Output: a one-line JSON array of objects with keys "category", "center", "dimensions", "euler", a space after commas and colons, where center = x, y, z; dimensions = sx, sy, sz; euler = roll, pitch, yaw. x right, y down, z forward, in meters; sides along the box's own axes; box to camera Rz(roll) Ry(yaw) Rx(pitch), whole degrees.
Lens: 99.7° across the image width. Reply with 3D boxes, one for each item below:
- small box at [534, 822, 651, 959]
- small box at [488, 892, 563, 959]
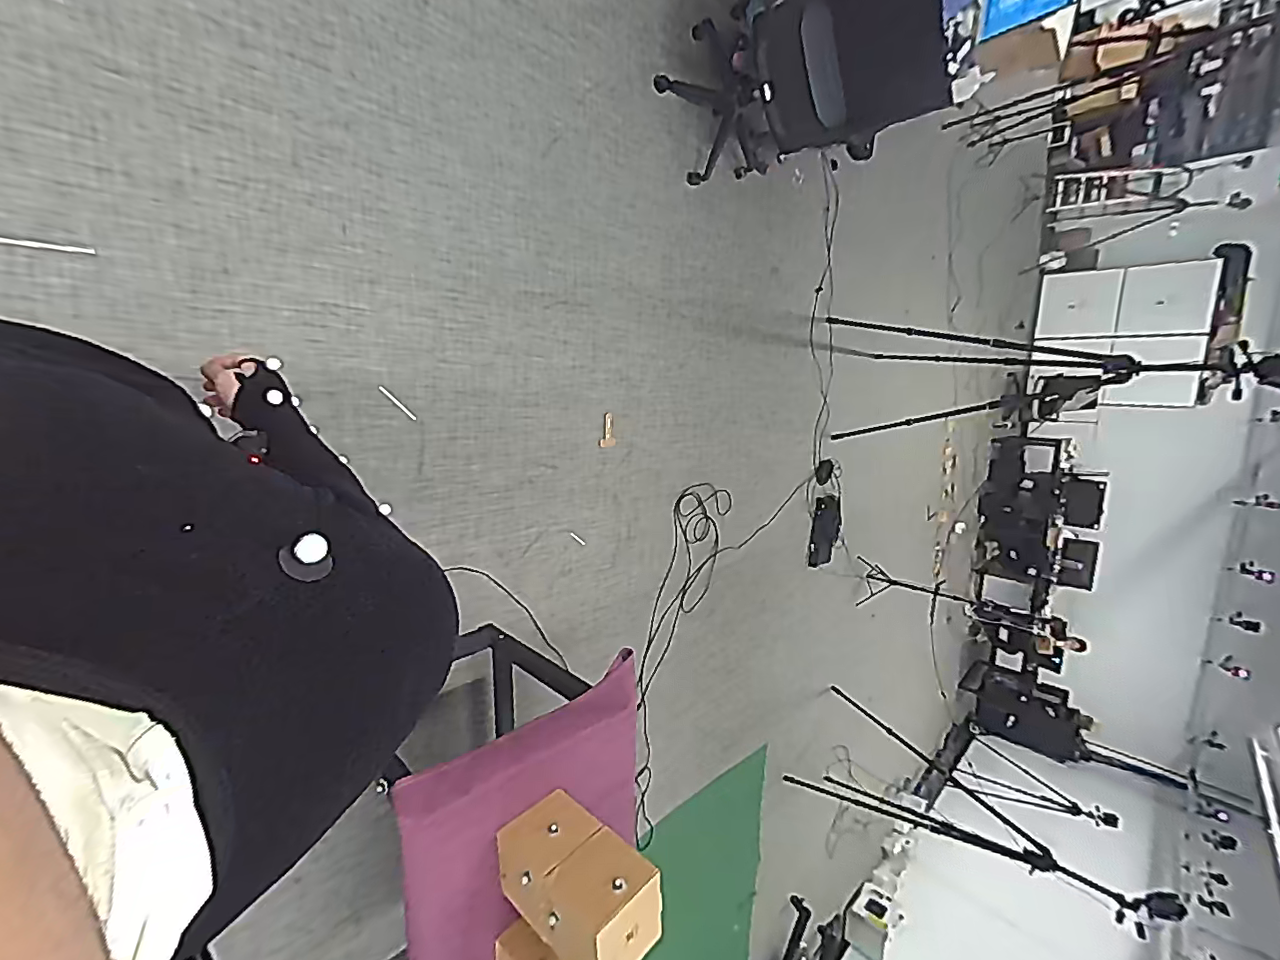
[{"category": "small box", "center": [-0.096, 0.855, 1.110], "dimensions": [0.179, 0.176, 0.168], "euler": [-13, 107, -45]}, {"category": "small box", "center": [-0.234, 1.108, 1.261], "dimensions": [0.179, 0.176, 0.168], "euler": [-12, 107, -44]}]
